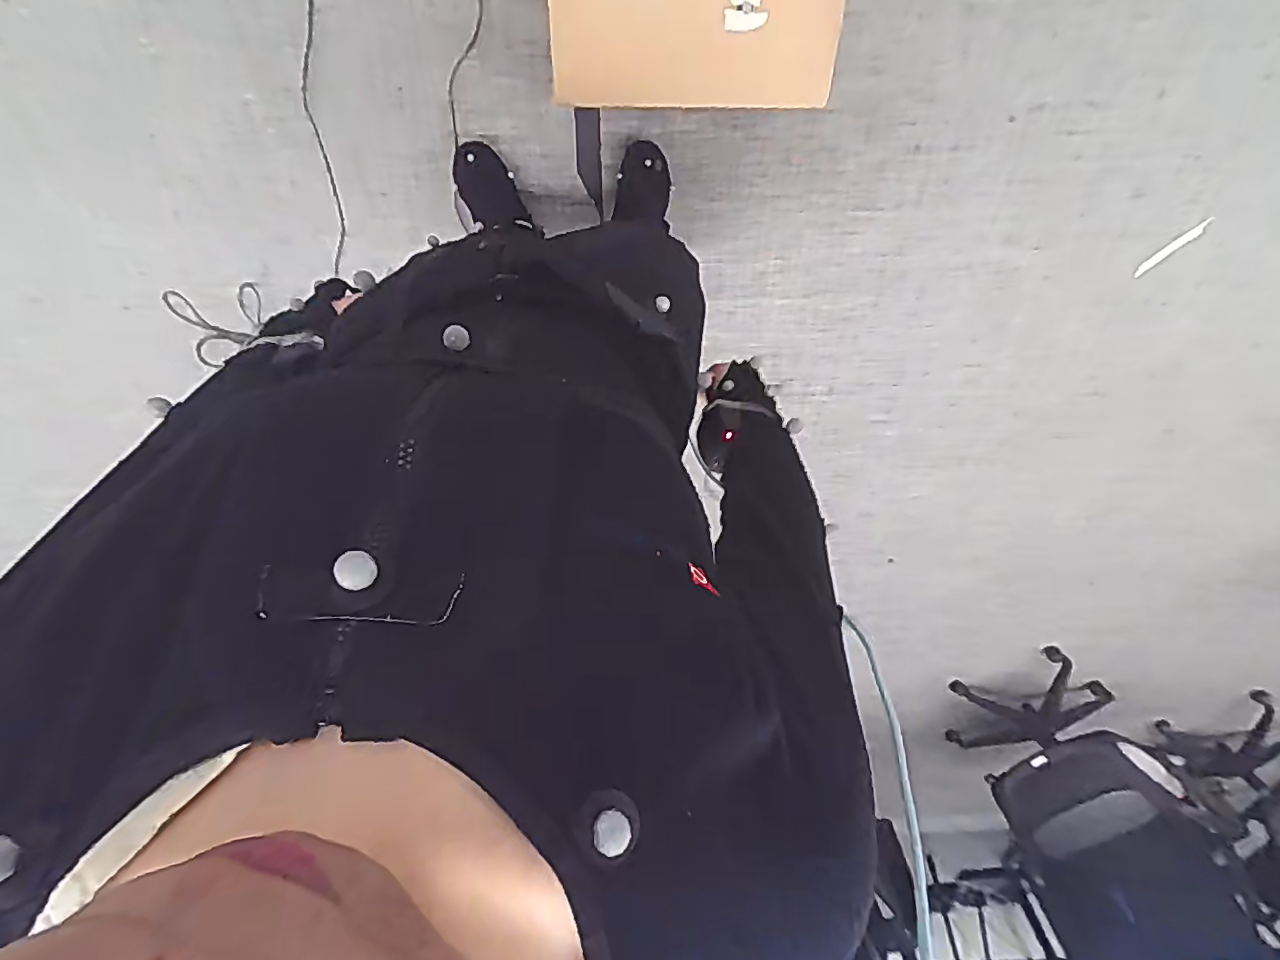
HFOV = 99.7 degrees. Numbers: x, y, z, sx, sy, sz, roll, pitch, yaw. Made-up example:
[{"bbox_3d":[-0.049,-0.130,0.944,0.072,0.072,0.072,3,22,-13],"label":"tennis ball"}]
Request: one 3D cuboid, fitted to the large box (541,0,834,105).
[{"bbox_3d":[0.056,-0.764,0.821,0.408,0.320,0.320,-2,126,-2],"label":"large box"}]
